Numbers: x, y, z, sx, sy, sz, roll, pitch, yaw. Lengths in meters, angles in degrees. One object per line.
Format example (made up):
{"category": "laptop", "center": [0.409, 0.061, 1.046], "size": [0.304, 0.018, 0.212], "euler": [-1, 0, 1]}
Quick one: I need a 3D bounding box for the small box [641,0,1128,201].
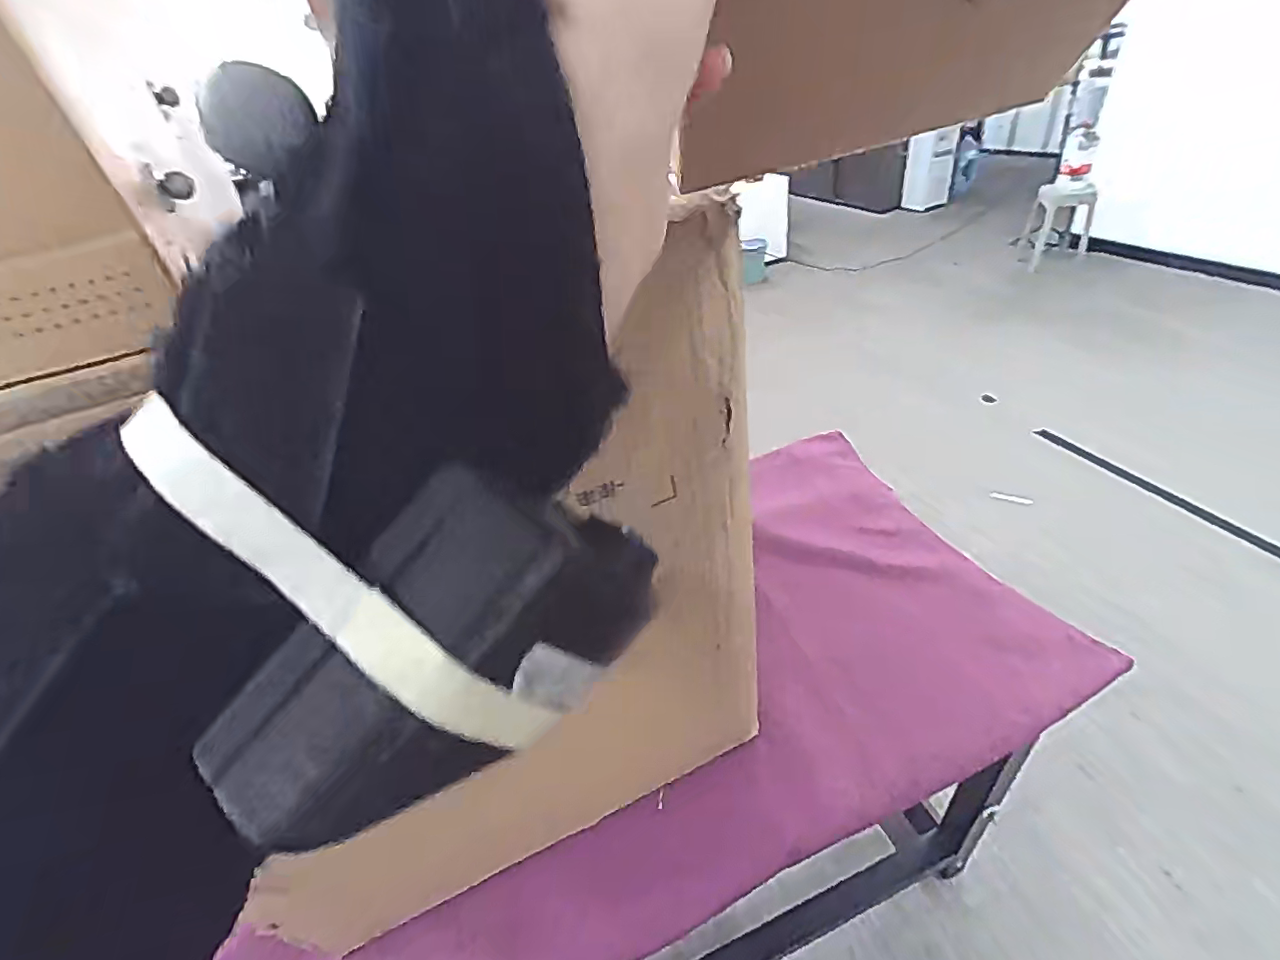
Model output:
{"category": "small box", "center": [0.076, -0.234, 0.169], "size": [0.168, 0.179, 0.176], "euler": [-13, -4, 3]}
